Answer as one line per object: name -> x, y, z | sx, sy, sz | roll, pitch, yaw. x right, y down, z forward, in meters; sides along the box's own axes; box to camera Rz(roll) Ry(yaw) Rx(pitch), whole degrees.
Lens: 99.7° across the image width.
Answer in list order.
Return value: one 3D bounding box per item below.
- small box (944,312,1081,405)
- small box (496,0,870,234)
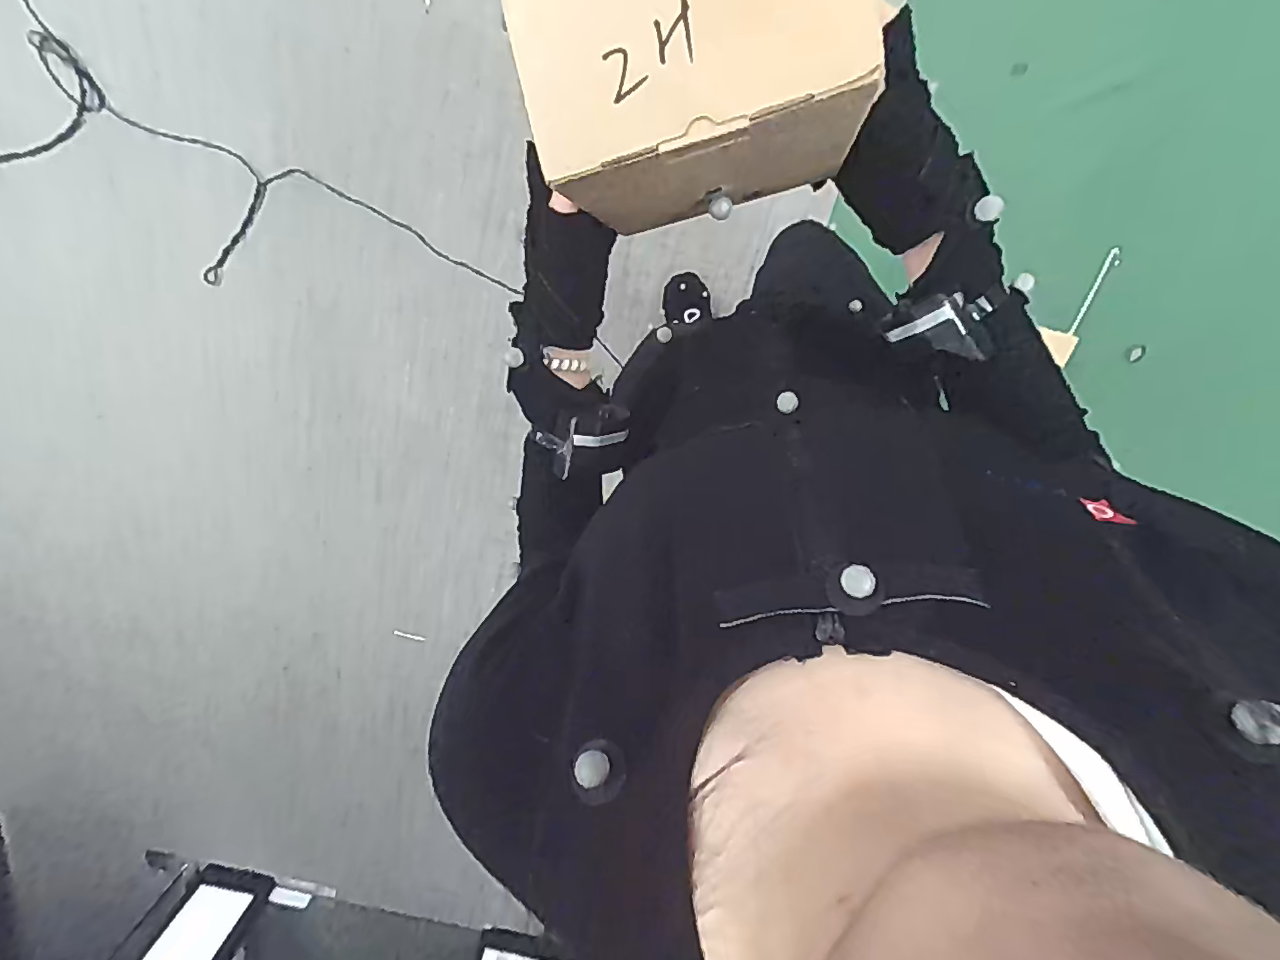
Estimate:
small box -> 0.861, -0.292, 1.275 | 0.179, 0.176, 0.168 | 15, 111, -2
small box -> 0.025, -0.267, 0.316 | 0.168, 0.176, 0.179 | -9, 103, 16
